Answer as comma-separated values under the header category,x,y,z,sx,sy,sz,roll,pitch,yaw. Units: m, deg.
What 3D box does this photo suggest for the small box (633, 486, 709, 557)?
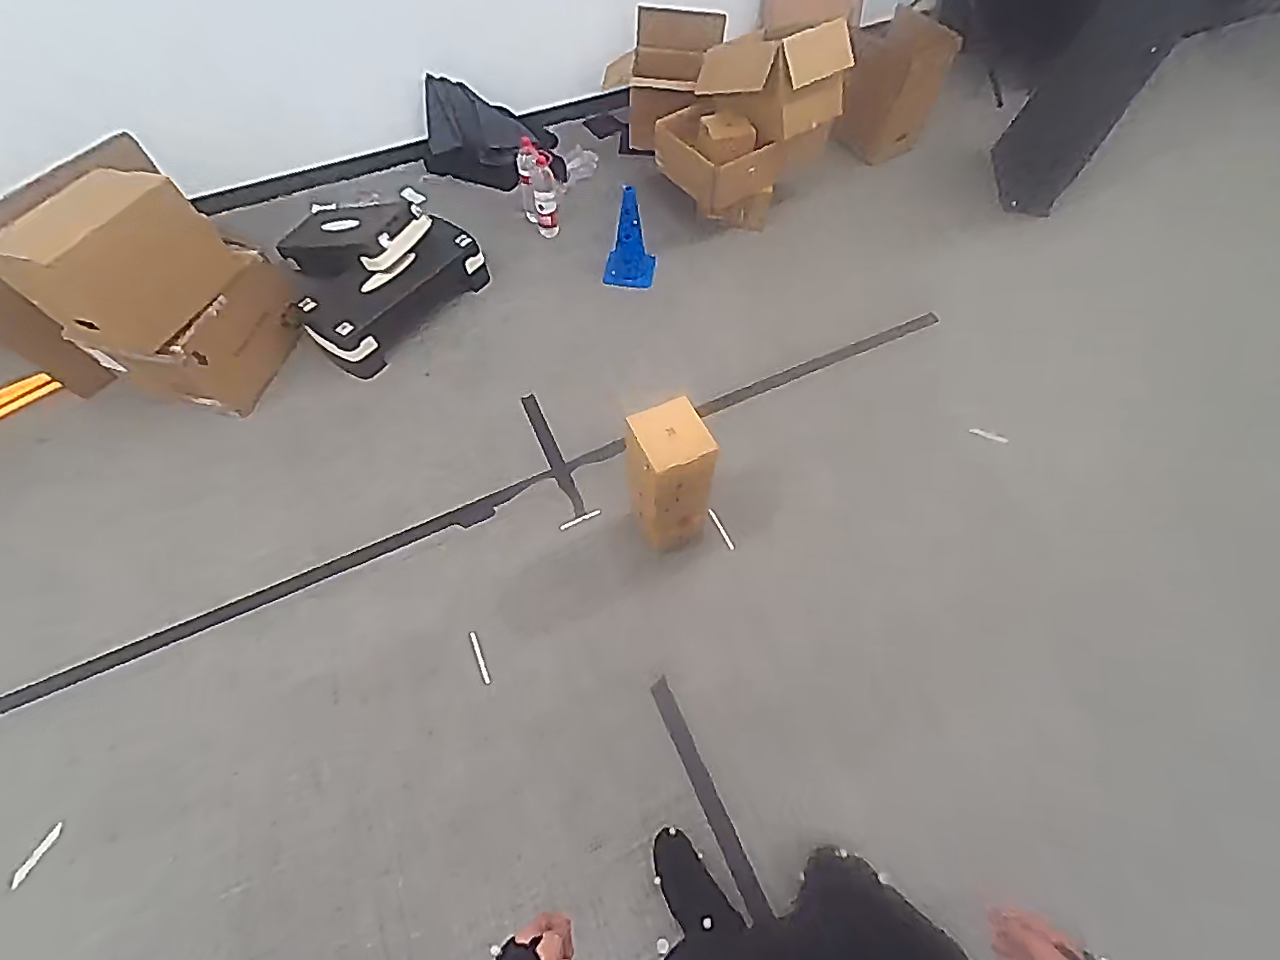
category,x,y,z,sx,sy,sz,roll,pitch,yaw
small box,0.086,0.103,1.632,0.168,0.176,0.179,-26,65,-14

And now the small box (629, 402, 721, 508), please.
category,x,y,z,sx,sy,sz,roll,pitch,yaw
small box,0.078,-0.059,1.347,0.168,0.176,0.179,-22,64,-13
